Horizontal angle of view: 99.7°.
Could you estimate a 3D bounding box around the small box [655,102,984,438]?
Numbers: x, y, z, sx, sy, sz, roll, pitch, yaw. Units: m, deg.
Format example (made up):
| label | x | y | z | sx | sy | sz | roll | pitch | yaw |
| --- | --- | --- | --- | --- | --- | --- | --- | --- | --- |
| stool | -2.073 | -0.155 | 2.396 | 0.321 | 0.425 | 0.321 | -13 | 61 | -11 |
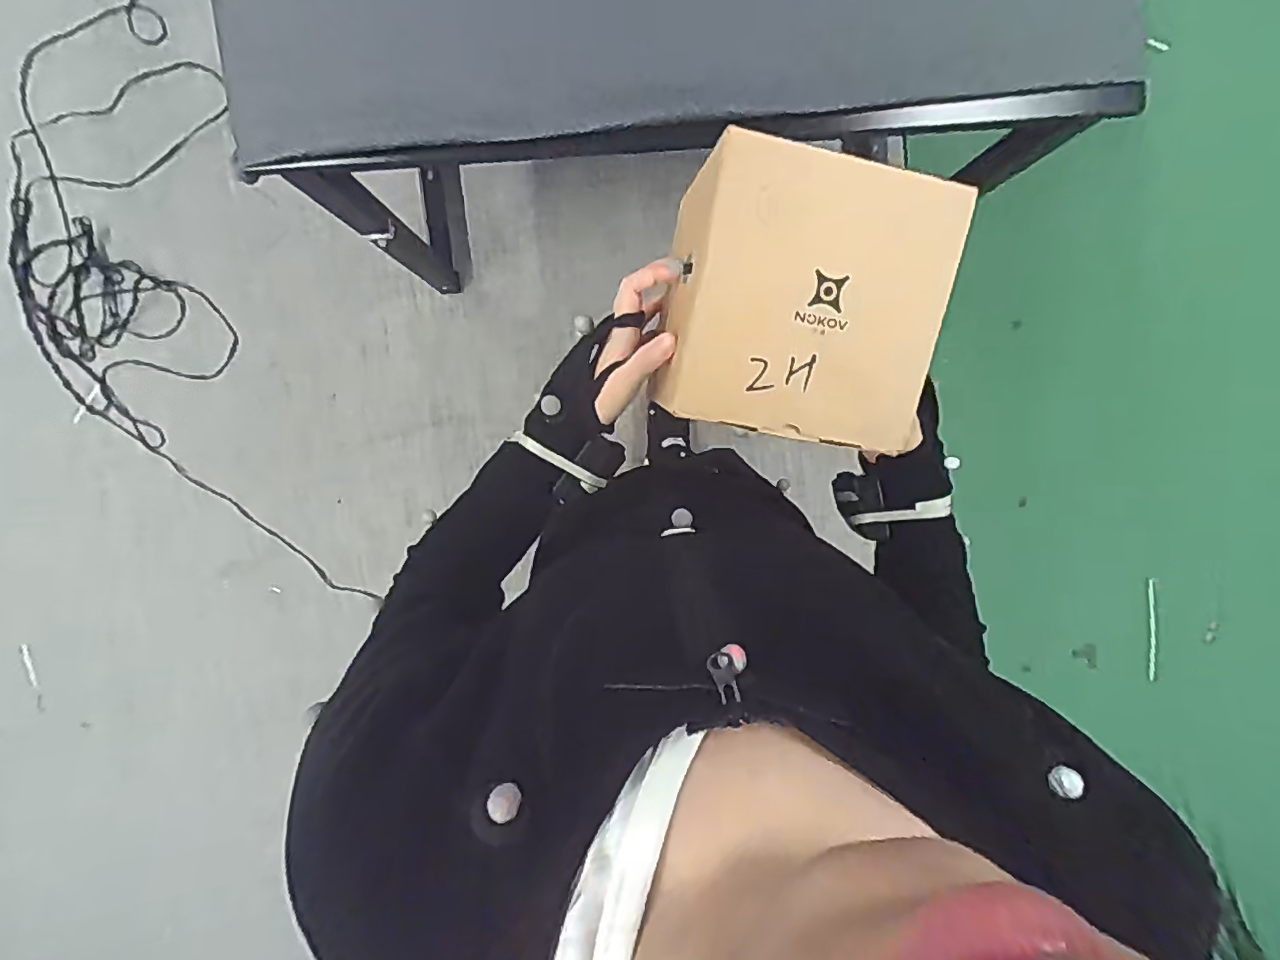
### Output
| label | x | y | z | sx | sy | sz | roll | pitch | yaw |
| --- | --- | --- | --- | --- | --- | --- | --- | --- | --- |
| small box | 0.111 | -0.141 | 0.416 | 0.168 | 0.176 | 0.179 | 8 | 102 | -7 |
